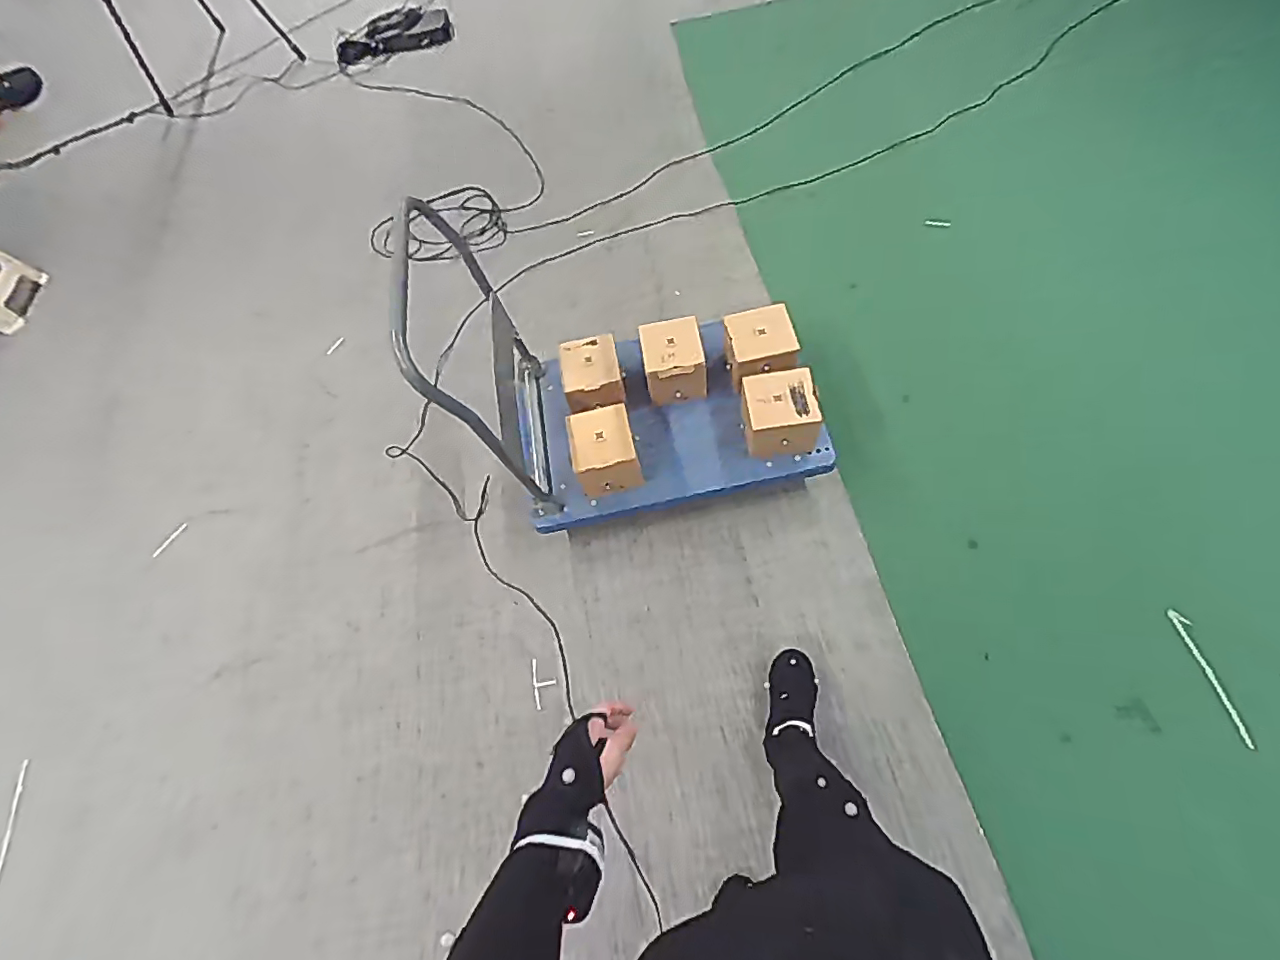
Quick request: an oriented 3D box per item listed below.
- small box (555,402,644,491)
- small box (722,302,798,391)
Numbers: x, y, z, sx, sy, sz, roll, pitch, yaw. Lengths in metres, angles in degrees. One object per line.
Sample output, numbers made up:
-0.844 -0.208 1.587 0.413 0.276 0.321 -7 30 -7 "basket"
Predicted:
-0.104 -0.088 1.488 0.179 0.176 0.168 15 70 15 "small box"
0.339 -0.377 1.552 0.179 0.176 0.168 -11 65 3 "small box"
